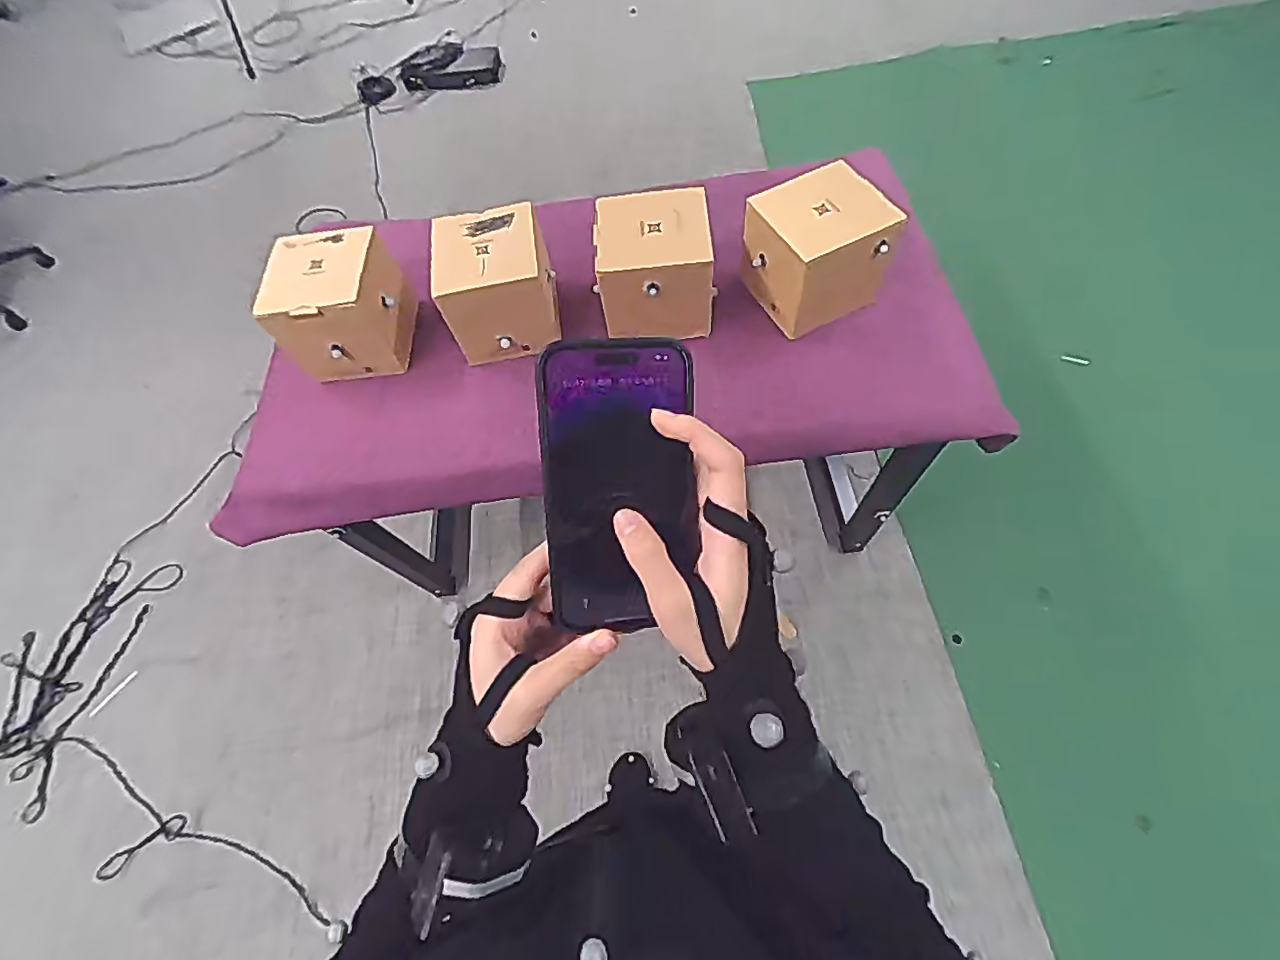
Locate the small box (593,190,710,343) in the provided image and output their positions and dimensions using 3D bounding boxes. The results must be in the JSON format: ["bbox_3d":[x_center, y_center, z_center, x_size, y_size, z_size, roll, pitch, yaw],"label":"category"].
[{"bbox_3d":[0.024,-0.345,0.897,0.179,0.176,0.168,-3,64,4],"label":"small box"}]

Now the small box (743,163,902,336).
[{"bbox_3d":[0.281,-0.367,0.880,0.179,0.176,0.168,-25,63,-7],"label":"small box"}]

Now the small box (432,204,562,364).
[{"bbox_3d":[-0.235,-0.324,0.913,0.168,0.176,0.179,-10,63,1],"label":"small box"}]

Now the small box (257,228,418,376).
[{"bbox_3d":[-0.501,-0.293,0.925,0.168,0.176,0.179,-6,63,3],"label":"small box"}]
